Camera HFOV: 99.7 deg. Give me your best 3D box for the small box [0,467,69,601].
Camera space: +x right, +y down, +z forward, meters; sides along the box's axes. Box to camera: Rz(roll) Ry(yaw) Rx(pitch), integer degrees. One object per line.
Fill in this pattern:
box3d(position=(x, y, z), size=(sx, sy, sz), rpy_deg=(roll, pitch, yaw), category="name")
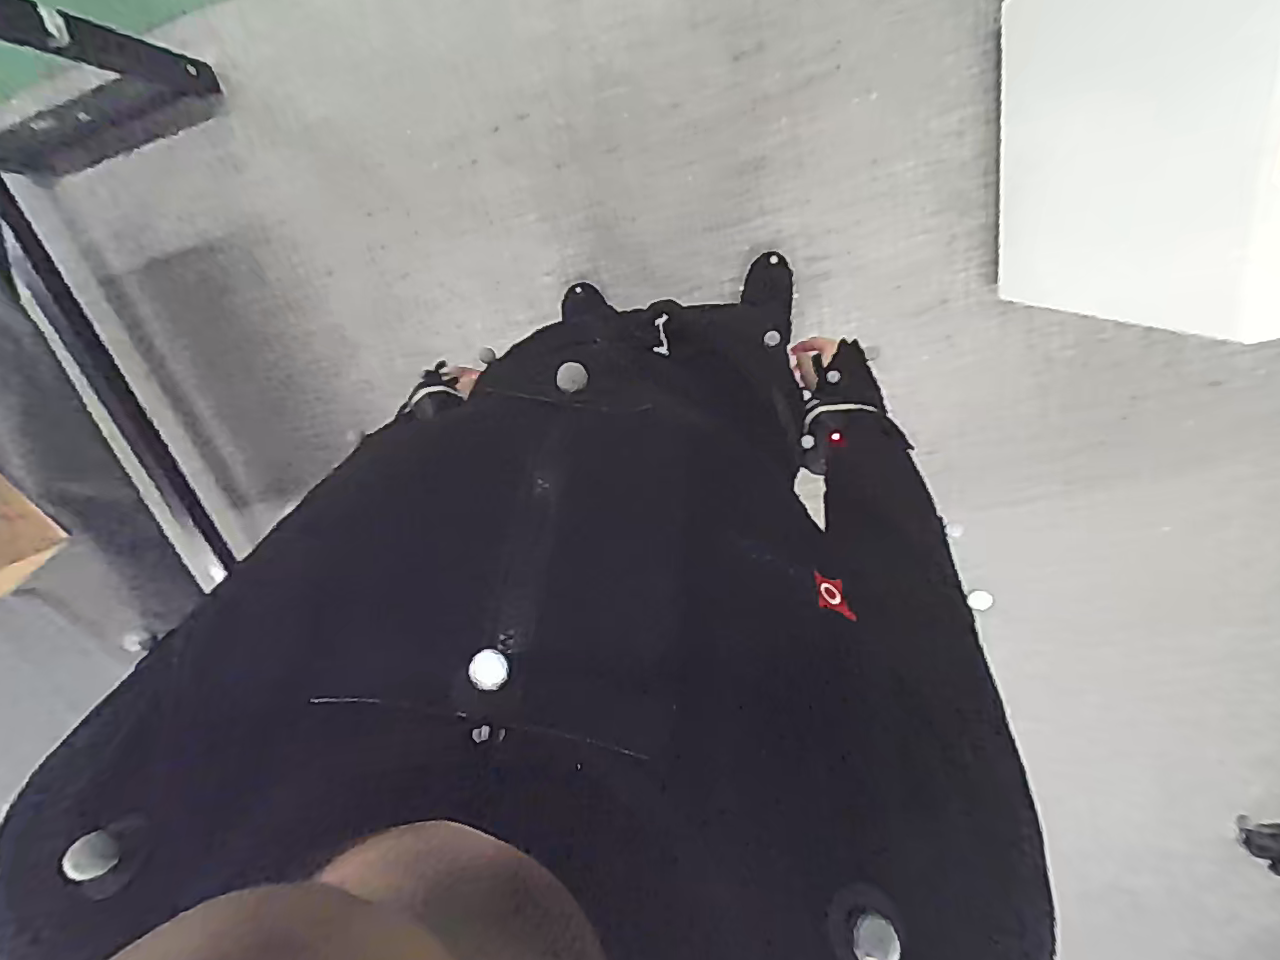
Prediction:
box3d(position=(-0.881, 0.090, 0.661), size=(0.179, 0.176, 0.168), rpy_deg=(-30, 107, 19), category="small box")
